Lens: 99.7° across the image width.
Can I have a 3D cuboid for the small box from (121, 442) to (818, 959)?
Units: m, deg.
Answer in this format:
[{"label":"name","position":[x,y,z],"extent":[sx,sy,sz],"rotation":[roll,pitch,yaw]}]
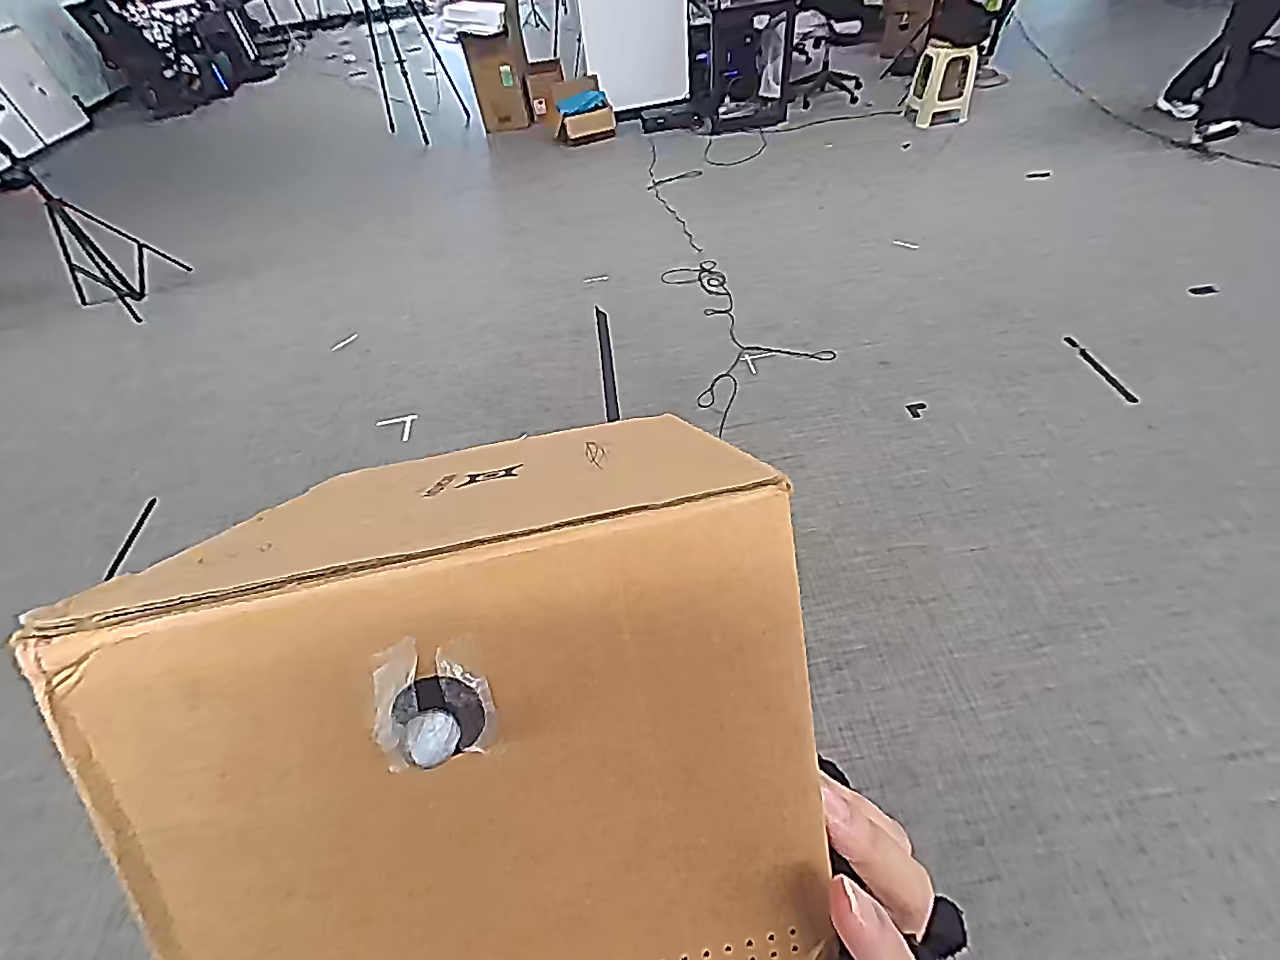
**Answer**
[{"label":"small box","position":[-0.042,0.089,0.235],"extent":[0.179,0.176,0.168],"rotation":[-11,13,-4]}]
